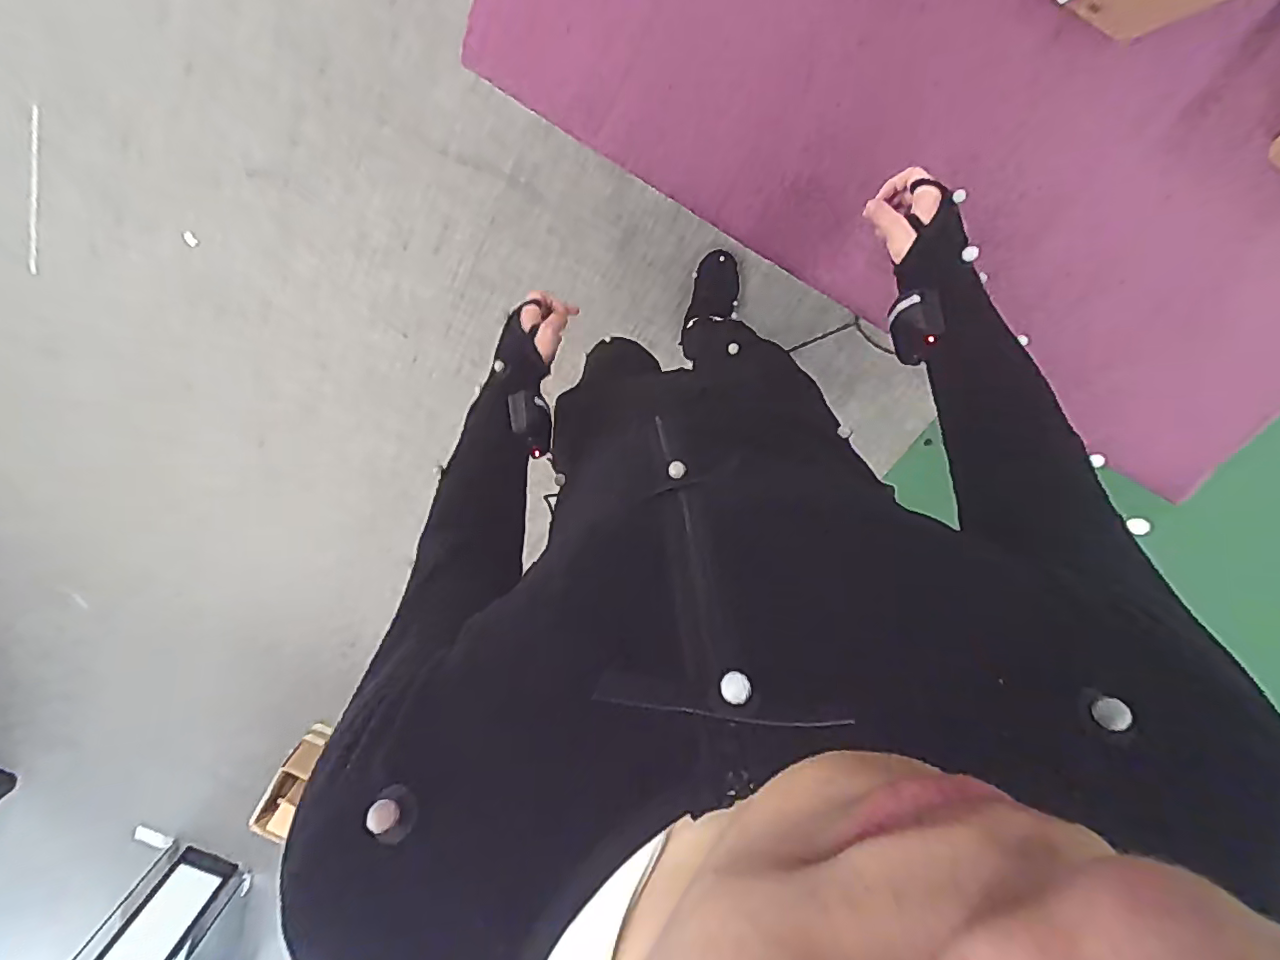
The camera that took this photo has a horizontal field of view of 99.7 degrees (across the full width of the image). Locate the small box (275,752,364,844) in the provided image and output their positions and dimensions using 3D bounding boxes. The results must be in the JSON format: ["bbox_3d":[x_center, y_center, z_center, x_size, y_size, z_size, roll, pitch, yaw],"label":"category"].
[{"bbox_3d":[-1.051,1.046,1.784,0.168,0.176,0.179,34,113,-9],"label":"small box"}]

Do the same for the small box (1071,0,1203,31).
[{"bbox_3d":[0.504,-0.569,0.491,0.168,0.176,0.179,28,116,-5],"label":"small box"}]
